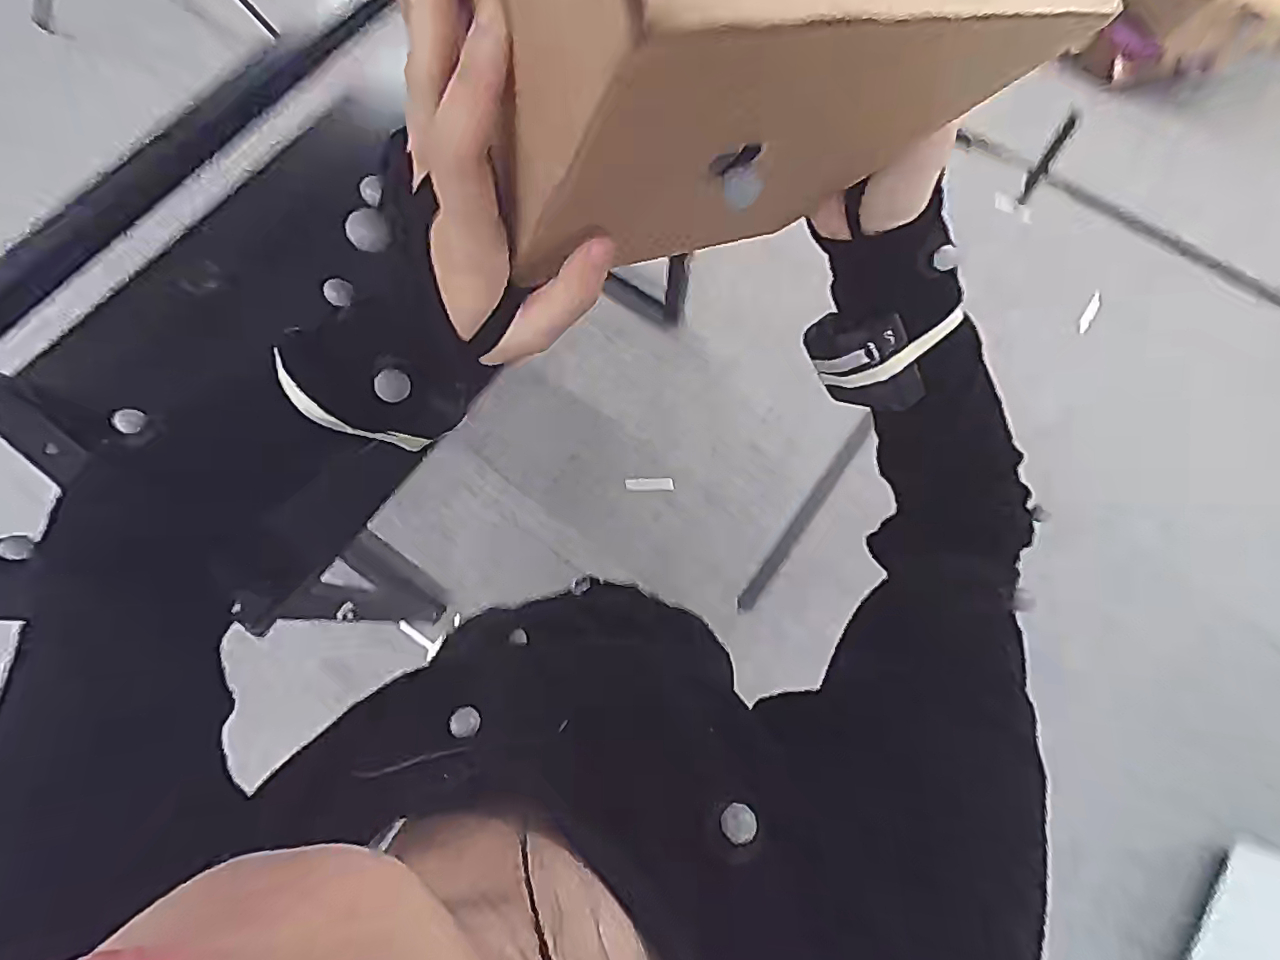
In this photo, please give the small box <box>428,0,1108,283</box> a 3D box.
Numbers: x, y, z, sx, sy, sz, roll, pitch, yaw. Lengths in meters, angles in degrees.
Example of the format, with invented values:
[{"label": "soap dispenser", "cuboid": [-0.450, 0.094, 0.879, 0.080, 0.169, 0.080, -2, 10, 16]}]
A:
[{"label": "small box", "cuboid": [0.020, -0.192, 0.207, 0.179, 0.176, 0.168, -21, 100, -20]}]
